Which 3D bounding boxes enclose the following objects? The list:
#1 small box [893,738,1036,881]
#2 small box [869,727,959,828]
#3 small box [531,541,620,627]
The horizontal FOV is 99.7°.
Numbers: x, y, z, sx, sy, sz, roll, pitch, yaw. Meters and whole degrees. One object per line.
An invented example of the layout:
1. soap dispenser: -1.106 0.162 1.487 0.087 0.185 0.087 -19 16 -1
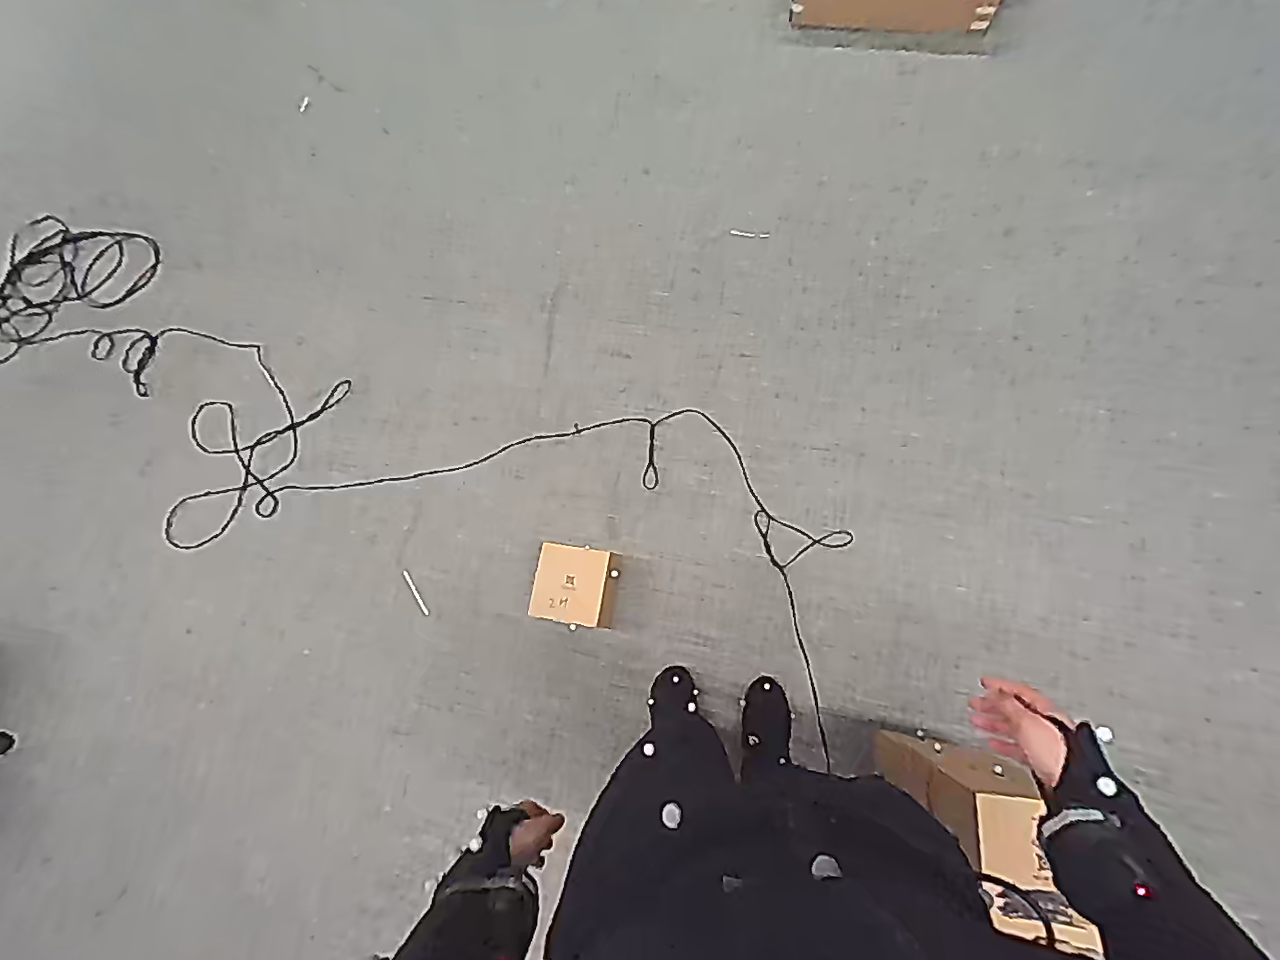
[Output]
1. small box: 0.574 0.580 0.979 0.179 0.176 0.168 5 78 8
2. small box: 0.593 0.630 1.133 0.179 0.176 0.168 8 77 9
3. small box: -0.149 0.257 1.323 0.168 0.176 0.179 7 76 10
